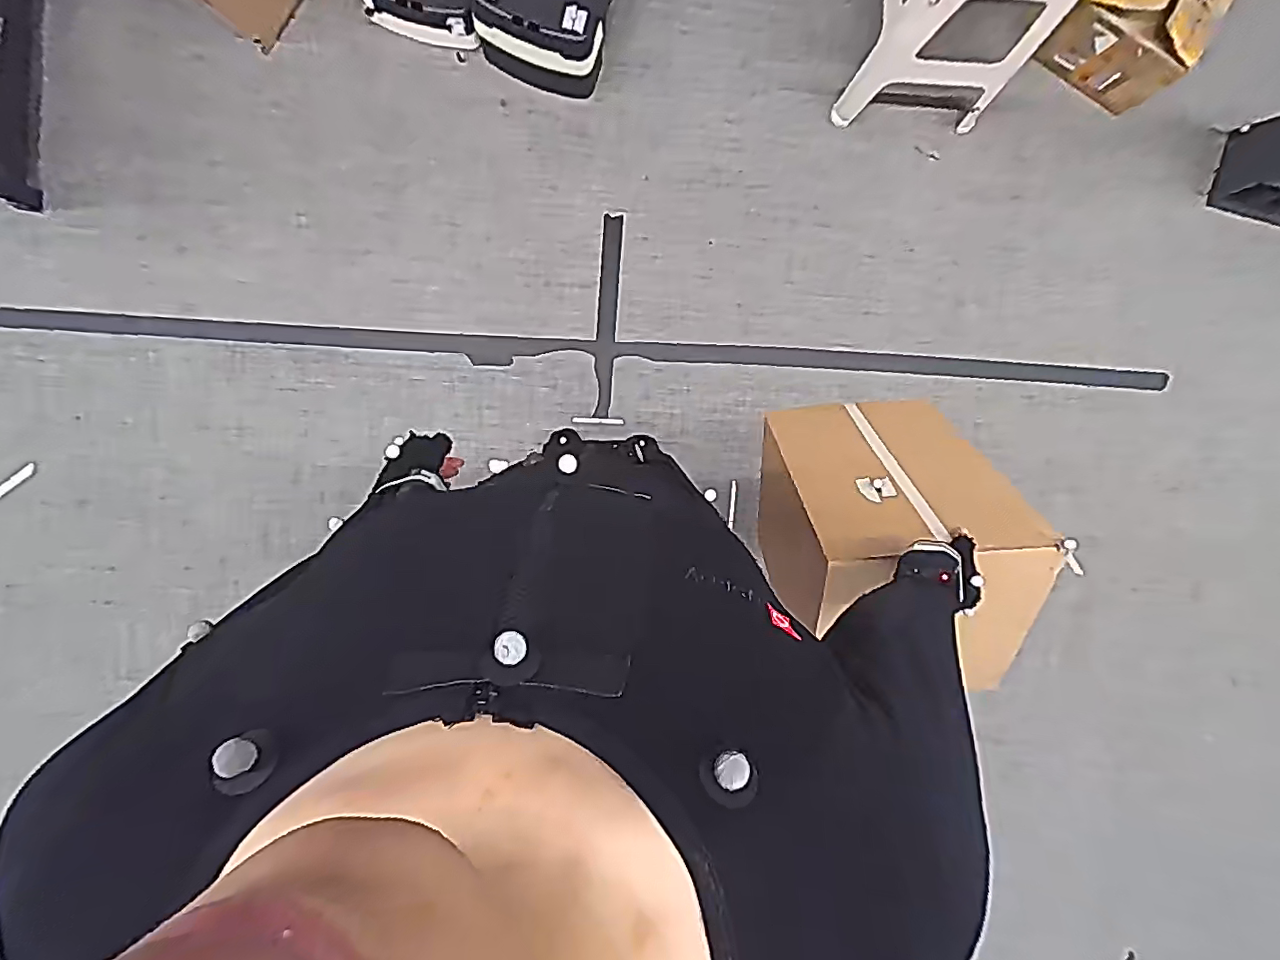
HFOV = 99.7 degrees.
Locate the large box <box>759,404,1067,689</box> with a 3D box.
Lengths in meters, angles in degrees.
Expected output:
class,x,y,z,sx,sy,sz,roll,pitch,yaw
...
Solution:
class,x,y,z,sx,sy,sz,roll,pitch,yaw
large box,0.413,0.102,0.958,0.320,0.408,0.320,-4,127,2
